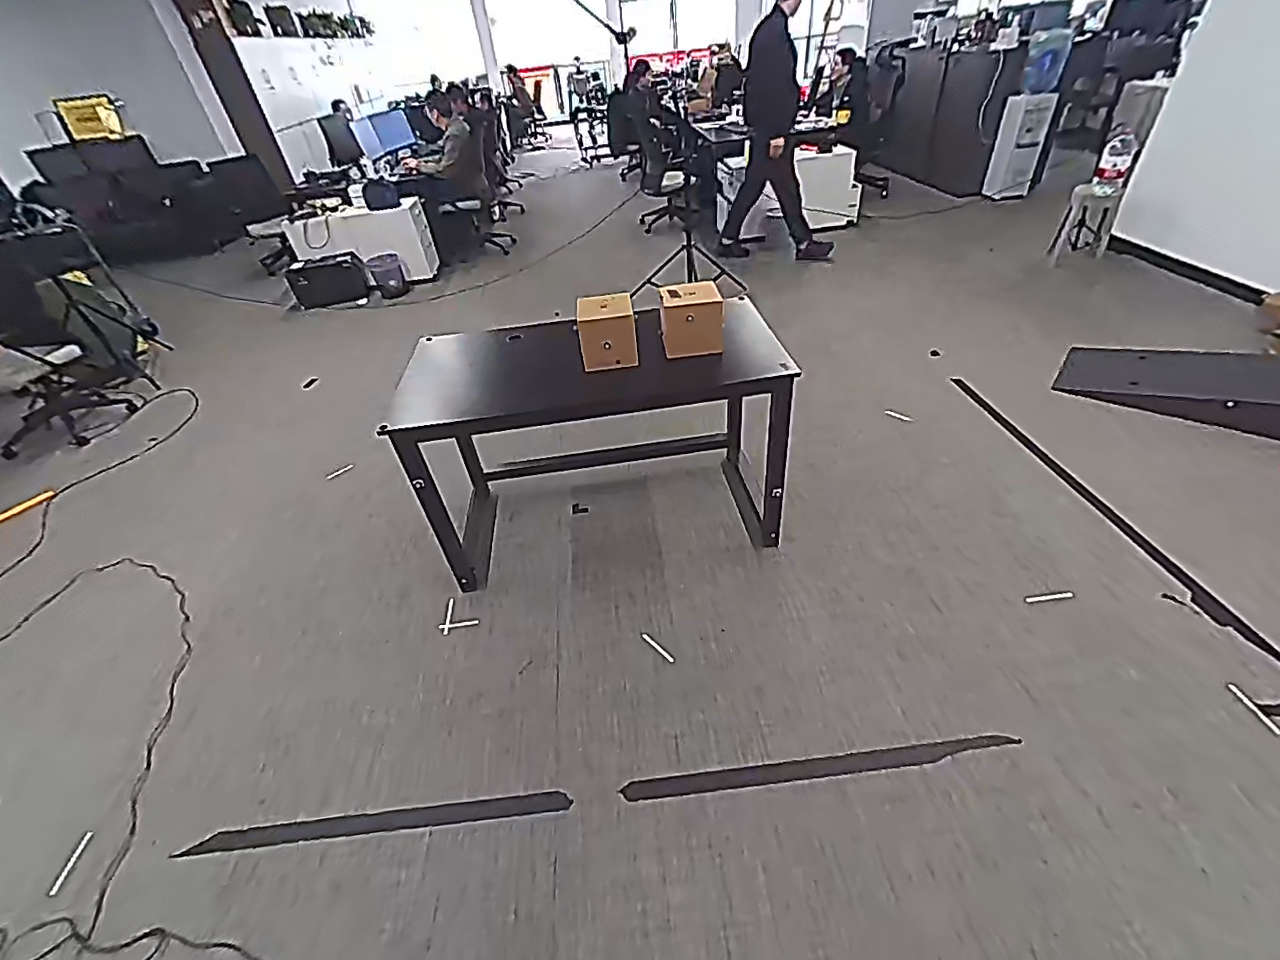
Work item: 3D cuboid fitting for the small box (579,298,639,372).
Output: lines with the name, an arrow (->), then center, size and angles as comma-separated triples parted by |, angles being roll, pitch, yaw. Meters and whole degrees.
small box -> -0.095, -0.447, 1.691 | 0.168, 0.176, 0.179 | -7, 39, 0

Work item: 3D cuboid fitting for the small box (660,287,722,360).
small box -> 0.162, -0.488, 1.702 | 0.179, 0.176, 0.168 | -6, 39, 0
